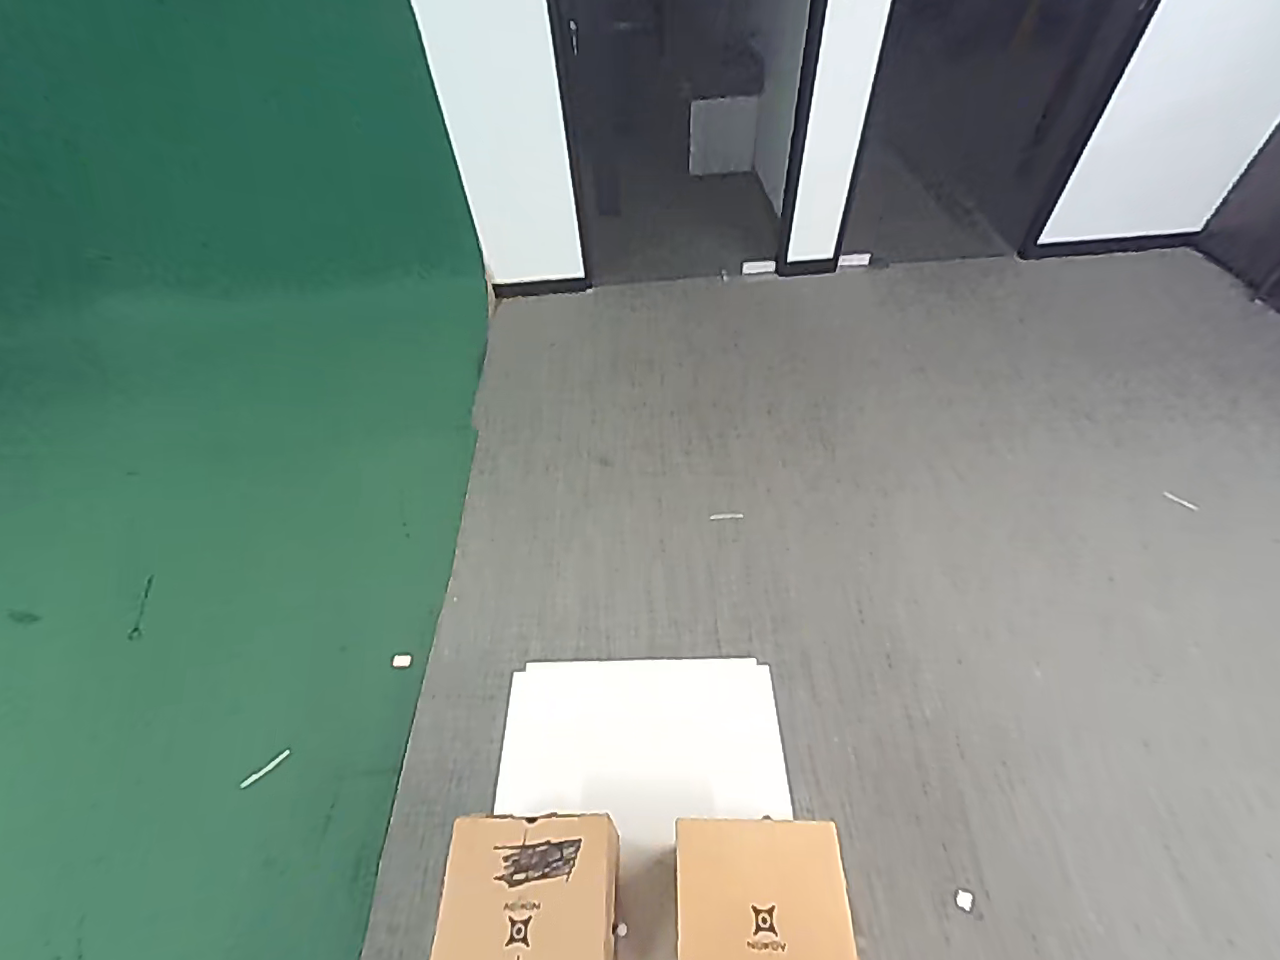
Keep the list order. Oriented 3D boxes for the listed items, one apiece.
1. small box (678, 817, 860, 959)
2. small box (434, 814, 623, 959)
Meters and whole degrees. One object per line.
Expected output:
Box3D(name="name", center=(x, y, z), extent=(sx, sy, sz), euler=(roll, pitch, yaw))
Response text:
Box3D(name="small box", center=(0.124, 0.473, 0.569), extent=(0.168, 0.176, 0.179), euler=(-1, 50, 4))
Box3D(name="small box", center=(-0.108, 0.476, 0.583), extent=(0.168, 0.176, 0.179), euler=(-2, 50, 2))
